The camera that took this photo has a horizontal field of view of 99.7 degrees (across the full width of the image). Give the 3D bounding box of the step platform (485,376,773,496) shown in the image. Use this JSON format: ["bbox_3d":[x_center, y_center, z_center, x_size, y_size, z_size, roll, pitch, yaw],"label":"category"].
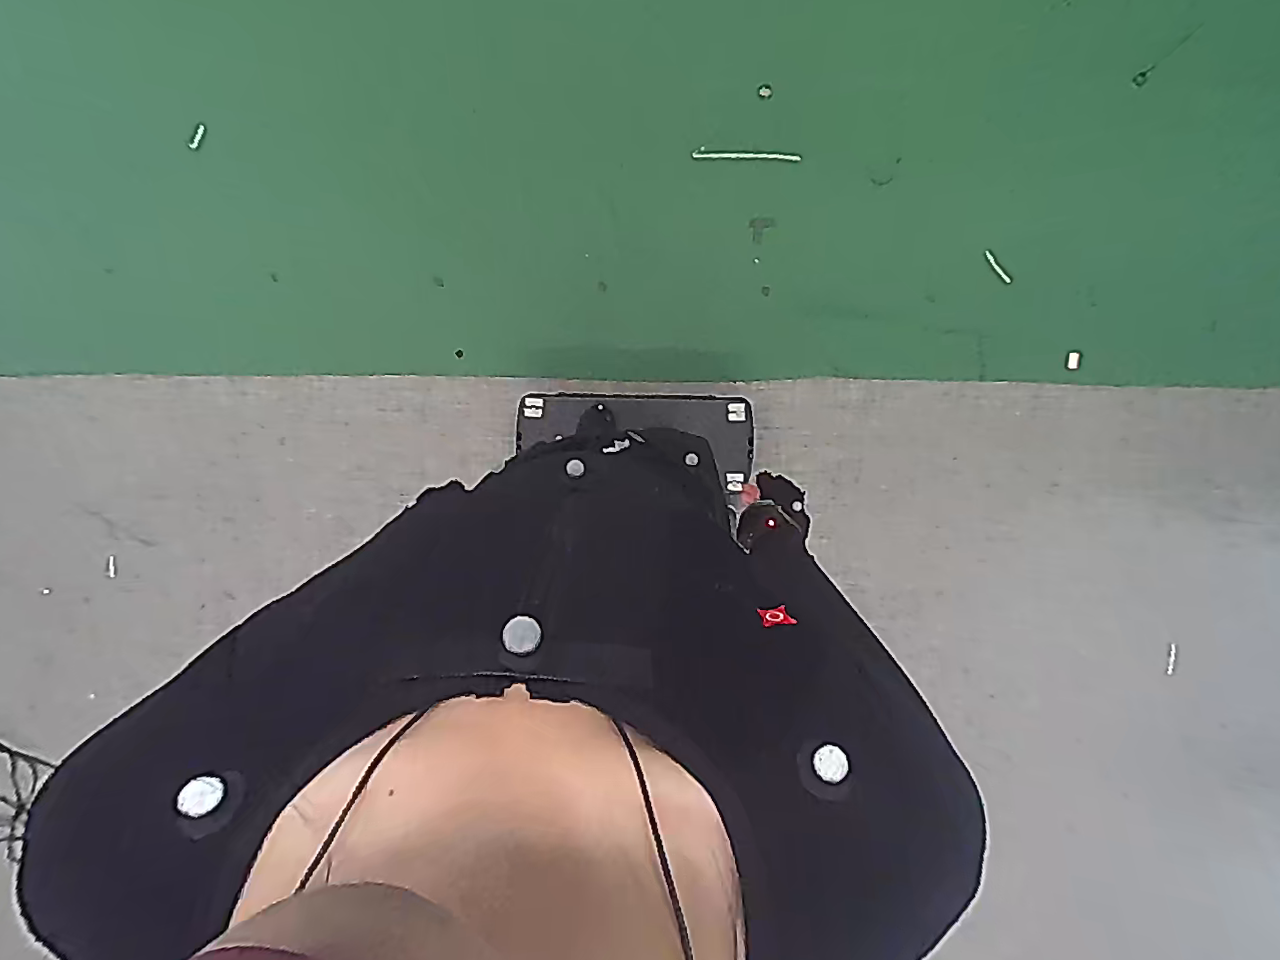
[{"bbox_3d":[-0.027,-0.114,1.372,0.684,0.204,0.286,0,97,1],"label":"step platform"}]
